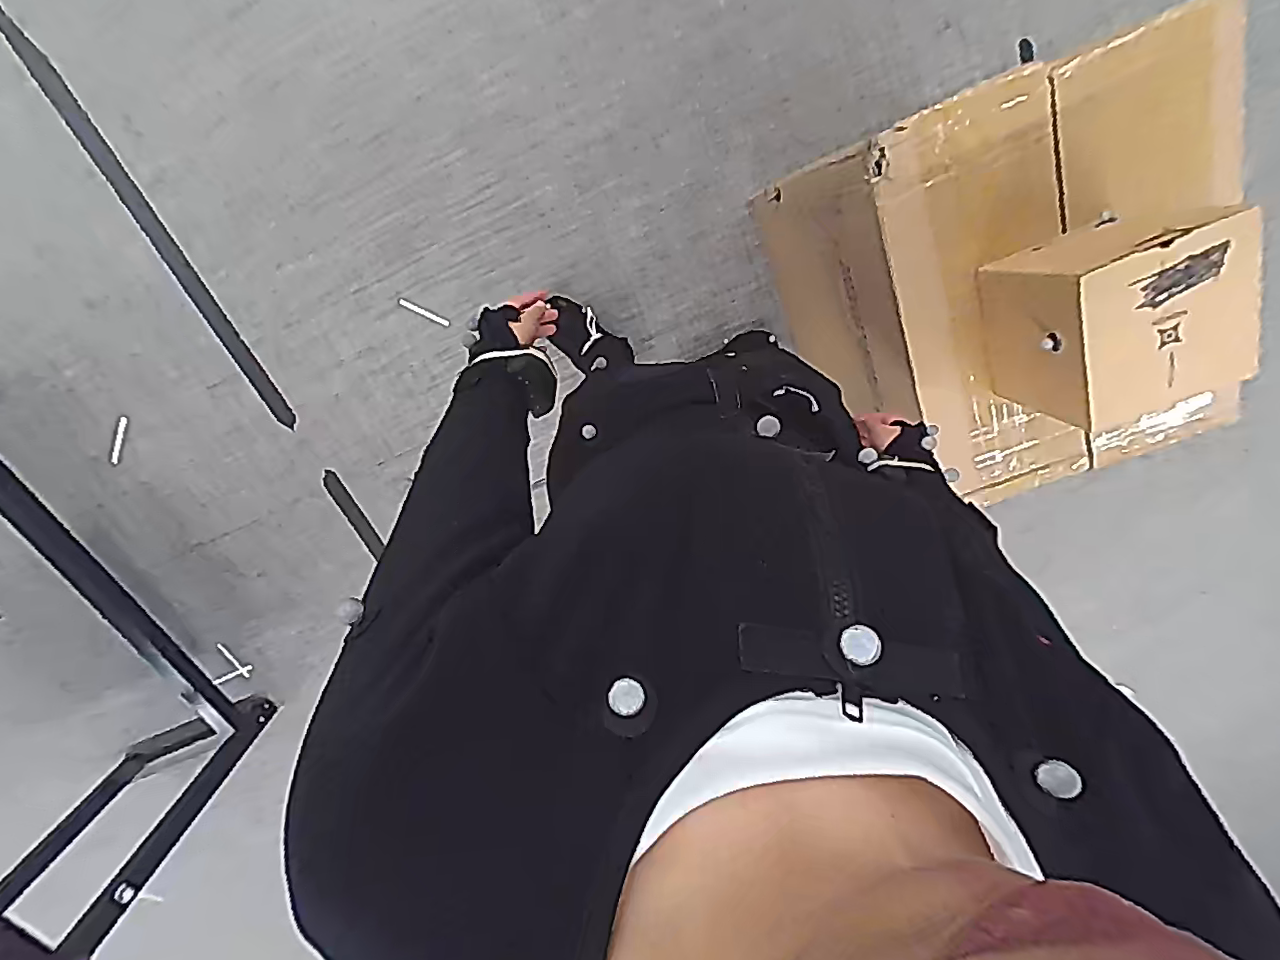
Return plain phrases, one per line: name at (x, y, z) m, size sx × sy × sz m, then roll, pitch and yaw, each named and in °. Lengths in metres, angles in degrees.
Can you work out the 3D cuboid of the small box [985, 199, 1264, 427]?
small box at (0.521, -0.186, 0.607) m, size 0.168 × 0.176 × 0.179 m, roll -21°, pitch 112°, yaw 8°
